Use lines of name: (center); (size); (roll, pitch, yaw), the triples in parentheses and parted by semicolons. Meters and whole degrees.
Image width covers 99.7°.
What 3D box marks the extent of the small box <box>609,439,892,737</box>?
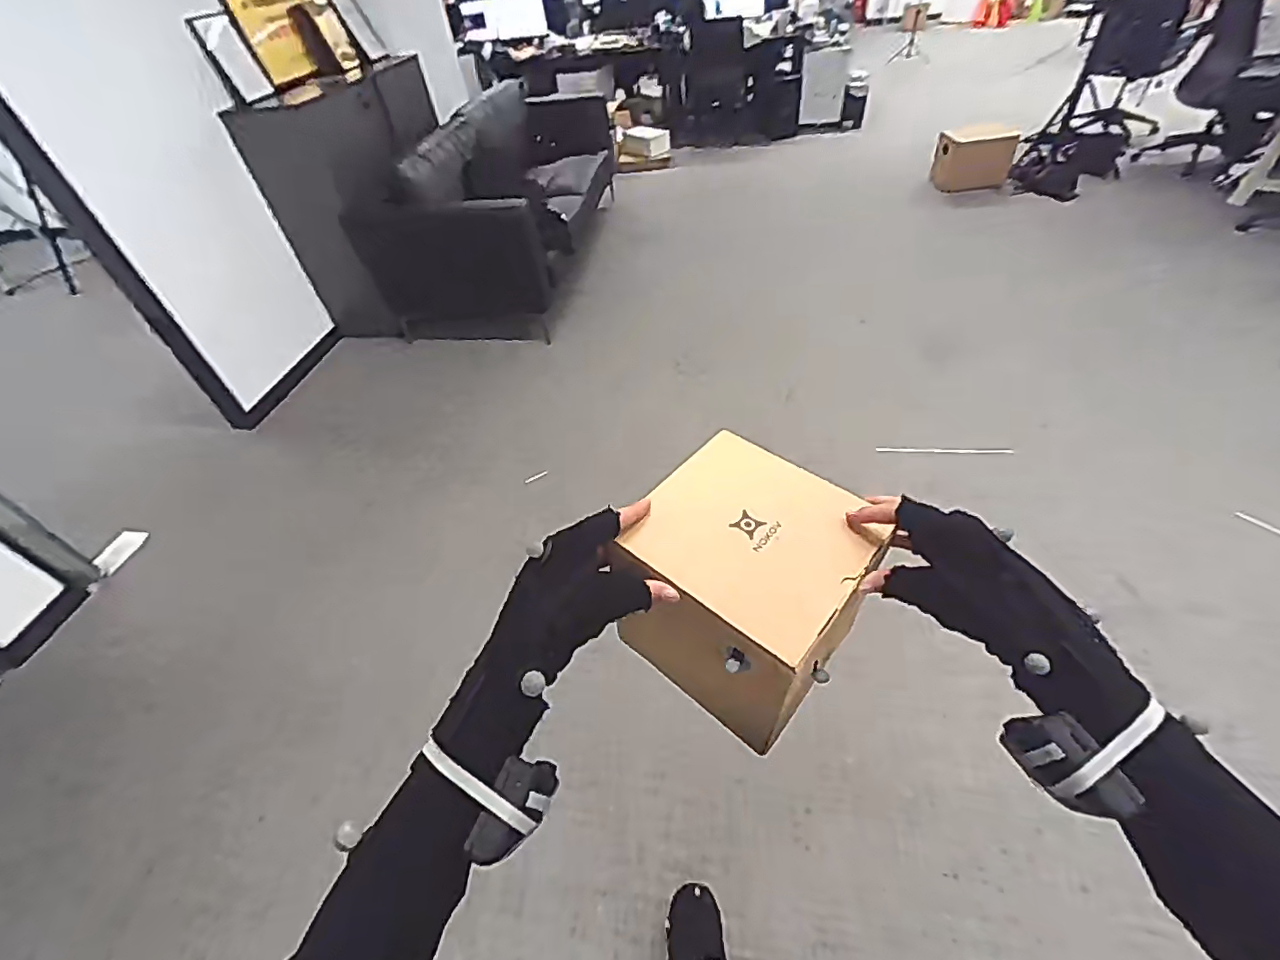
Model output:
small box: (0.091, 0.098, 0.499); (0.179, 0.176, 0.168); (32, 55, 28)
